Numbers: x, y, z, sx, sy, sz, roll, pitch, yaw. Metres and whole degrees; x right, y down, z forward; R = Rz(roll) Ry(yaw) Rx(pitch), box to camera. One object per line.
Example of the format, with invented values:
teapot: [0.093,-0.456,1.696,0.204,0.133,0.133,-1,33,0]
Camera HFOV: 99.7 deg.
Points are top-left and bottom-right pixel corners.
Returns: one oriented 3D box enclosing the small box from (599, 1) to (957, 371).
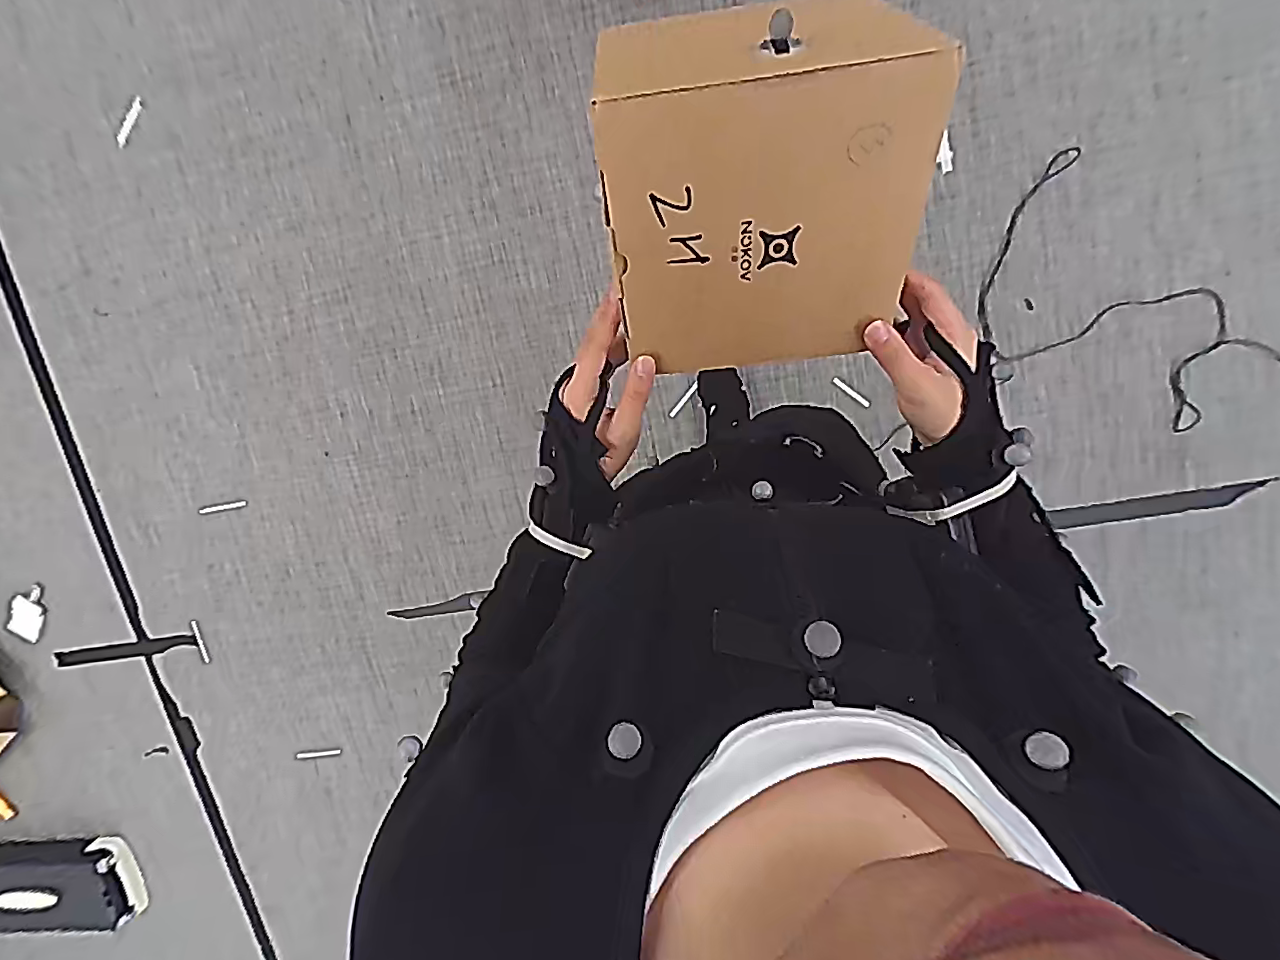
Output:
small box: [0.070,-0.198,0.369,0.179,0.176,0.168,-5,138,4]
